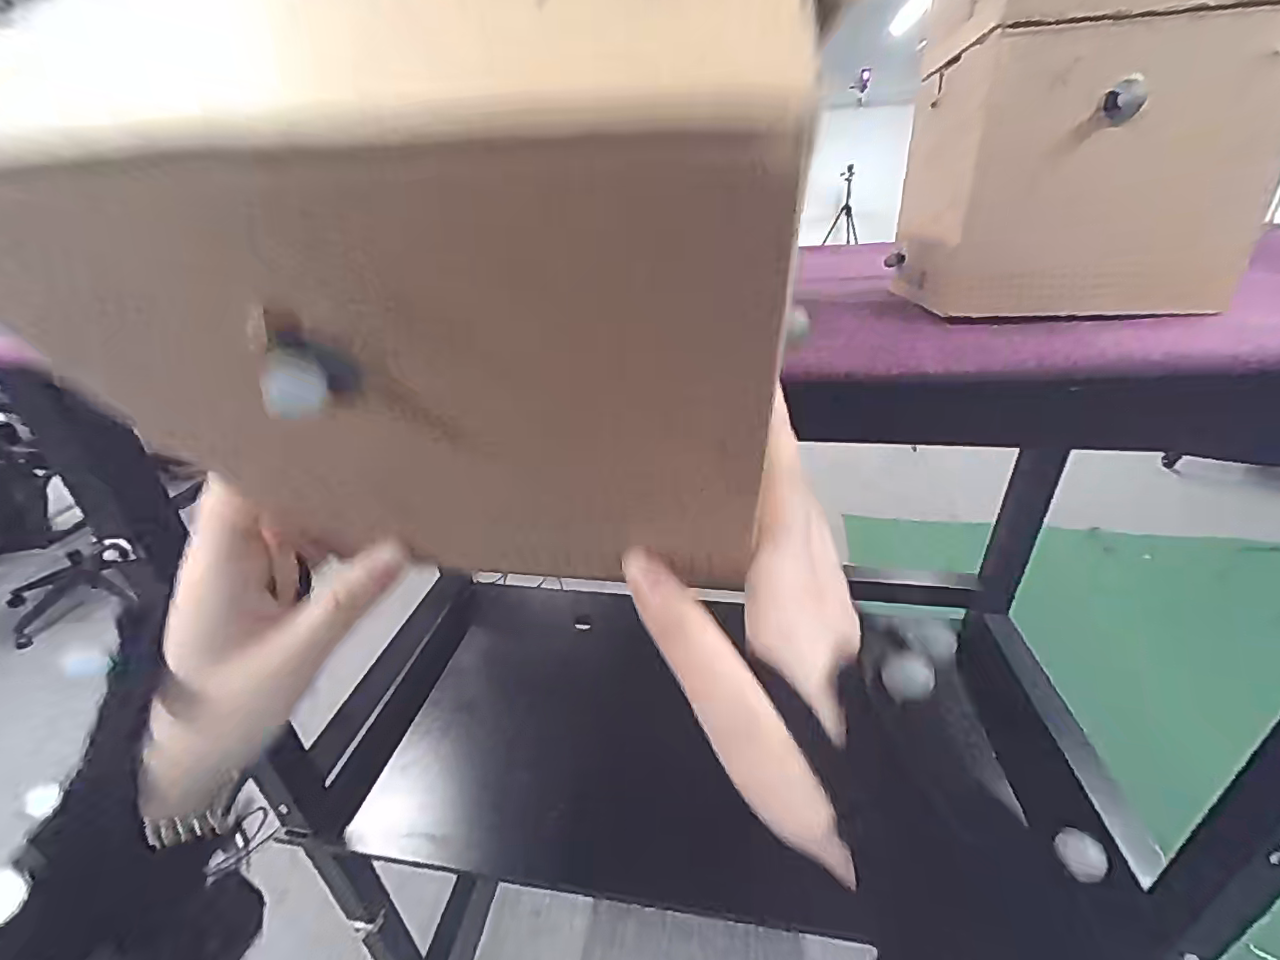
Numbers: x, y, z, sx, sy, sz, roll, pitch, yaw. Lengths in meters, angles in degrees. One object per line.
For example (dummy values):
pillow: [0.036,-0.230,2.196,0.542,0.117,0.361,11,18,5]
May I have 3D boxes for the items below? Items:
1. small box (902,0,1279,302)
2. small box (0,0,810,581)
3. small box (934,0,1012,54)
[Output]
small box: [0.308,-0.228,0.398,0.179,0.176,0.168,2,27,9]
small box: [-0.044,-0.072,0.186,0.179,0.176,0.168,2,60,9]
small box: [0.300,-0.376,0.330,0.179,0.176,0.168,2,27,9]
